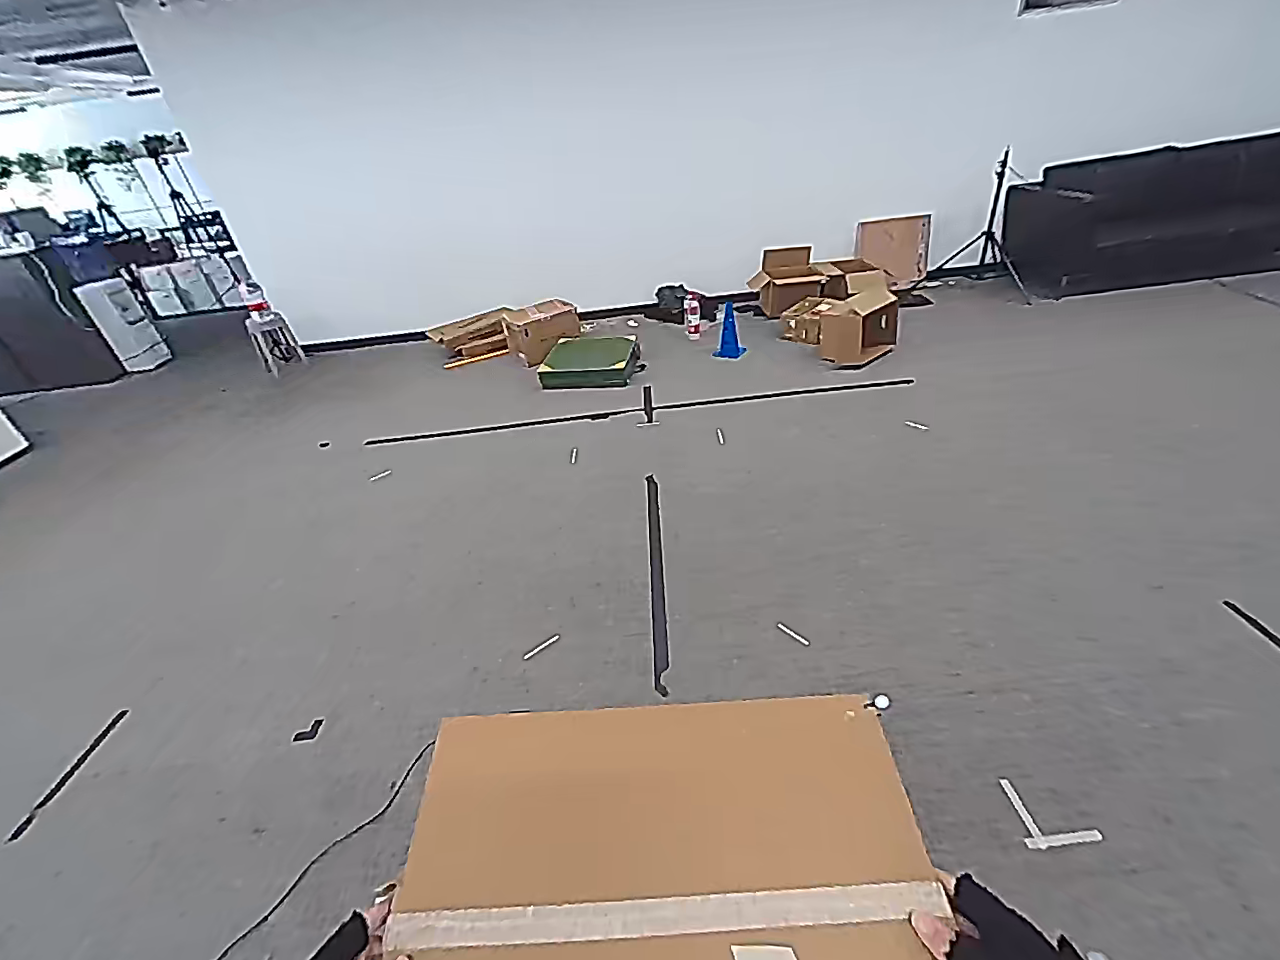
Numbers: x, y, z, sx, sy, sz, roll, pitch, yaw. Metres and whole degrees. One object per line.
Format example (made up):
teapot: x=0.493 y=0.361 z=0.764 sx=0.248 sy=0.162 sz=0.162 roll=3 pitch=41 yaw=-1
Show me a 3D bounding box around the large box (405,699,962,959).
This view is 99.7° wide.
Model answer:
large box: x=0.031 y=0.436 z=0.502 sx=0.408 sy=0.320 sz=0.320 roll=-3 pitch=42 yaw=0
